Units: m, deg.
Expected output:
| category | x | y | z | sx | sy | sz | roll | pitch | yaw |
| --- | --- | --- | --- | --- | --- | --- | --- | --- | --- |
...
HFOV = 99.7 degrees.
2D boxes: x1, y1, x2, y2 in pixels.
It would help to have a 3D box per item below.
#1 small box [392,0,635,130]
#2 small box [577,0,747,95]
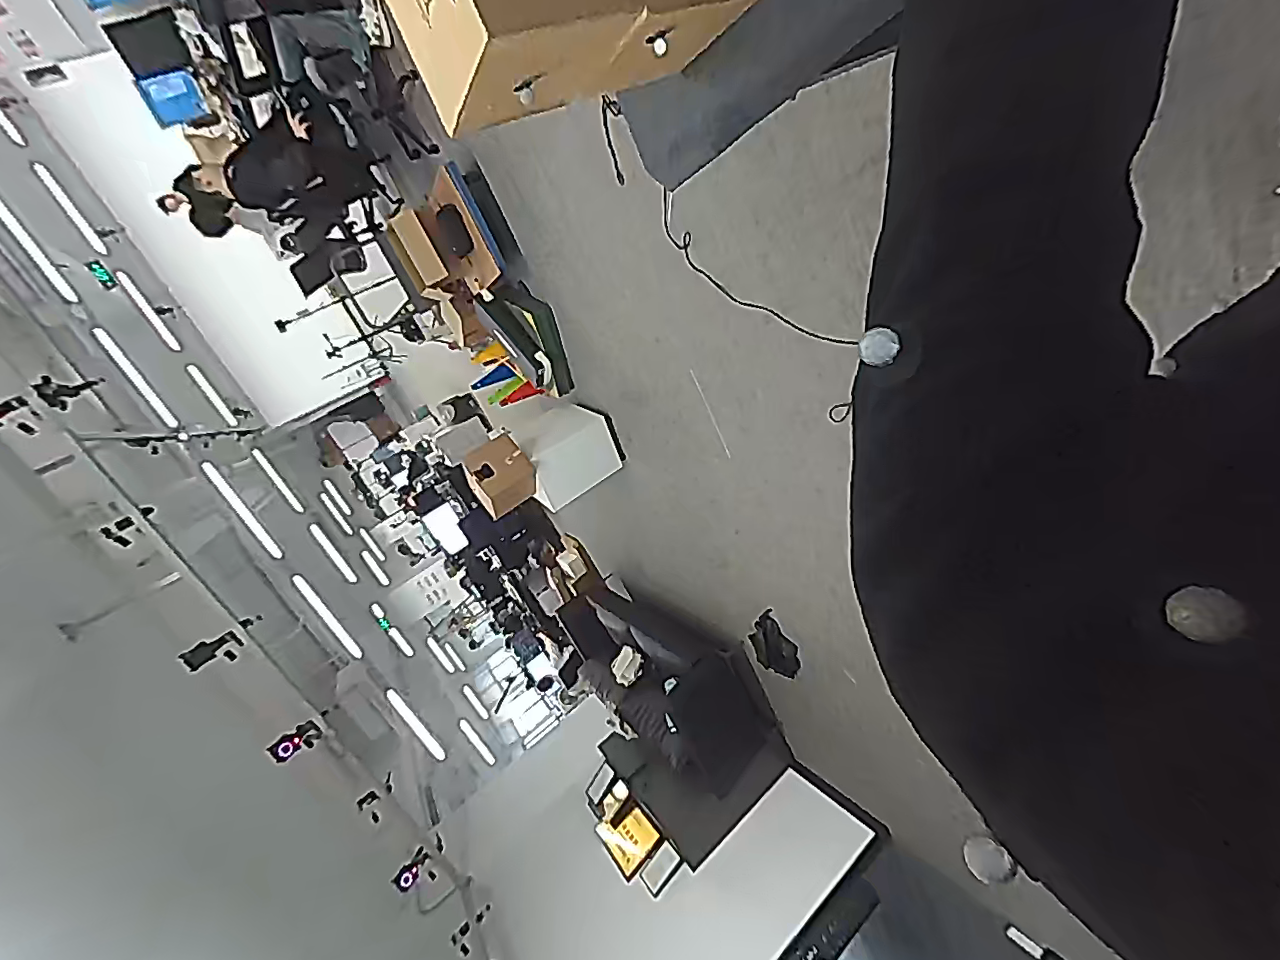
| category | x | y | z | sx | sy | sz | roll | pitch | yaw |
| --- | --- | --- | --- | --- | --- | --- | --- | --- | --- |
| small box | -0.130 | -0.480 | 0.519 | 0.179 | 0.176 | 0.168 | 10 | 130 | 62 |
| small box | 0.000 | -0.560 | 0.578 | 0.179 | 0.176 | 0.168 | 15 | 133 | 59 |
